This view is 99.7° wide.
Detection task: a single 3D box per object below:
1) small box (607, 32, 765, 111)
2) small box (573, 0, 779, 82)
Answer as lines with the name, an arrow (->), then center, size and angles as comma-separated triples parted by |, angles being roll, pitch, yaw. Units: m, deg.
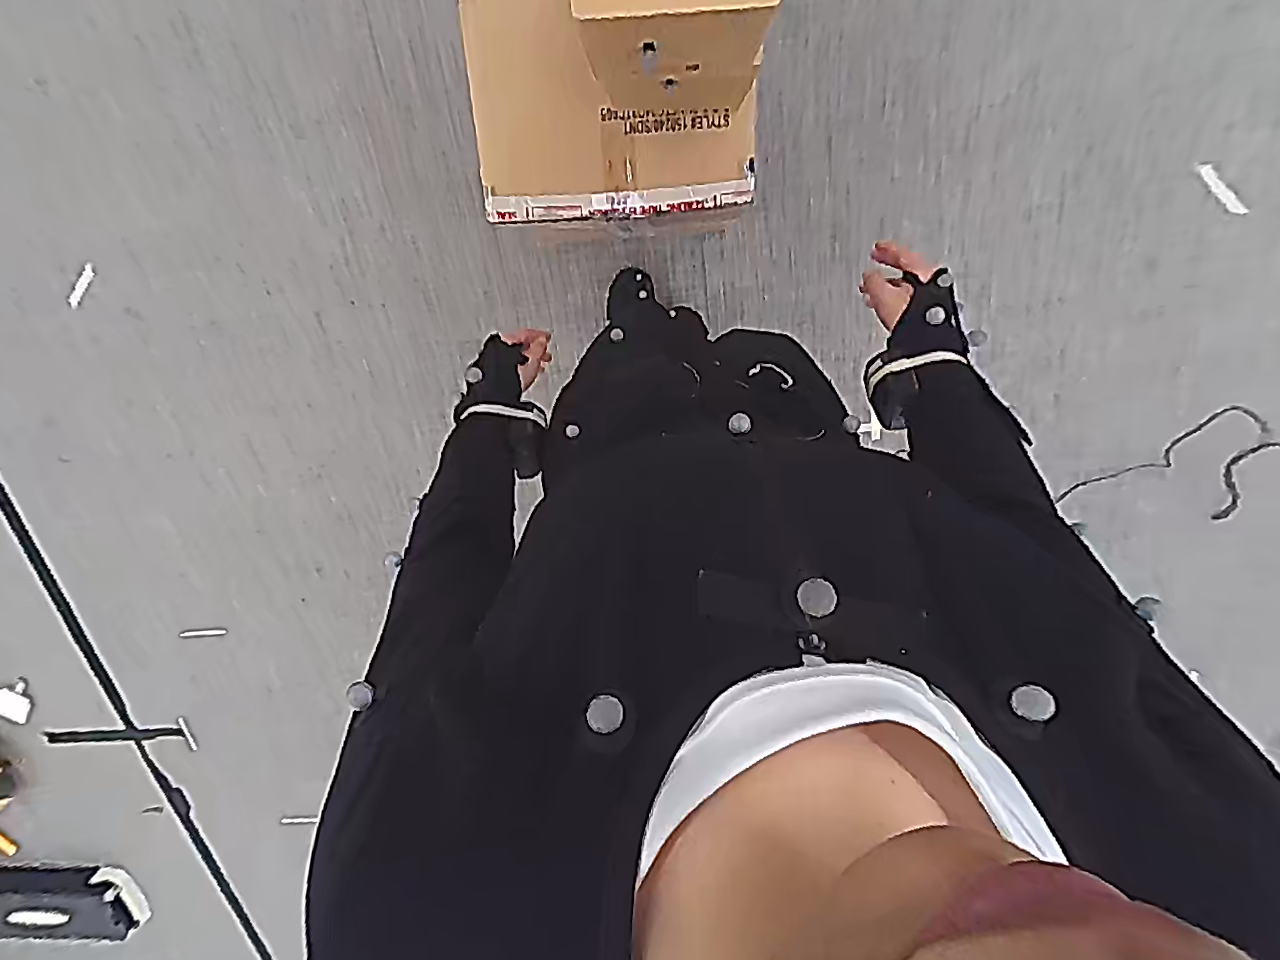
small box -> 0.046, -0.538, 0.618 | 0.179, 0.176, 0.168 | 0, 112, 2
small box -> 0.030, -0.472, 0.470 | 0.168, 0.176, 0.179 | -2, 111, 3
